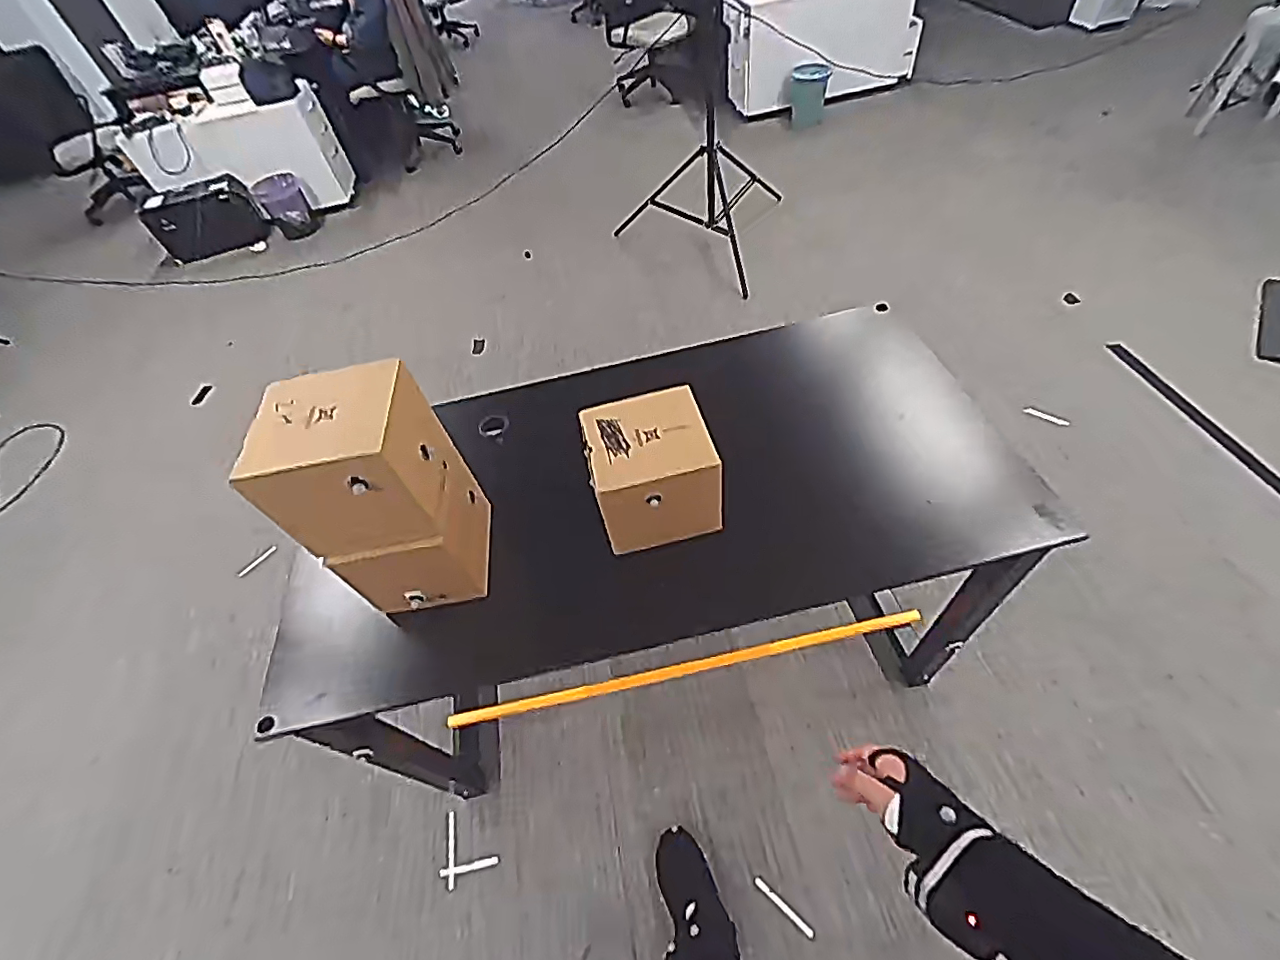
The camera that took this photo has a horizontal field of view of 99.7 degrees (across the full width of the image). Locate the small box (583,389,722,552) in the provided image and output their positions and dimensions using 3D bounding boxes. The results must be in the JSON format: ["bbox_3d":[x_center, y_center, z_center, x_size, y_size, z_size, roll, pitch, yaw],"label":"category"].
[{"bbox_3d":[0.022,-0.009,0.835,0.179,0.176,0.168,-14,52,-2],"label":"small box"}]

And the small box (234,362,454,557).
[{"bbox_3d":[-0.358,-0.021,0.697,0.179,0.176,0.168,-11,51,1],"label":"small box"}]

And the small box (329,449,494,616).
[{"bbox_3d":[-0.330,0.083,0.822,0.168,0.176,0.179,-12,53,1],"label":"small box"}]
